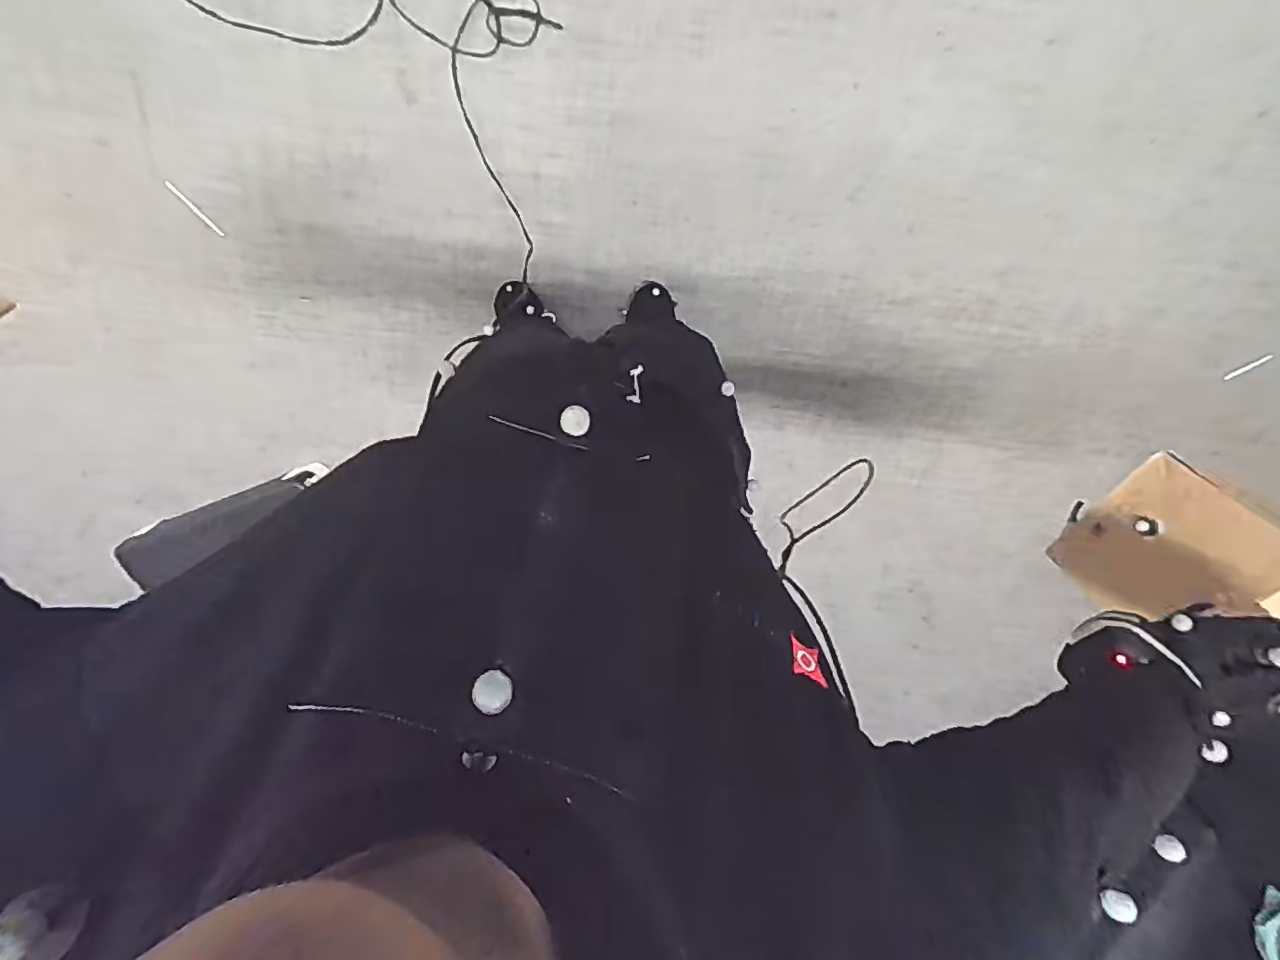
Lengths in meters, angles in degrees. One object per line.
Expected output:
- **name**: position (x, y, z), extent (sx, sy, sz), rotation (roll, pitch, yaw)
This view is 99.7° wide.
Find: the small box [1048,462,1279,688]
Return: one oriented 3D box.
- **small box**: position (0.619, 0.103, 0.595), extent (0.179, 0.176, 0.168), rotation (14, 126, -17)
